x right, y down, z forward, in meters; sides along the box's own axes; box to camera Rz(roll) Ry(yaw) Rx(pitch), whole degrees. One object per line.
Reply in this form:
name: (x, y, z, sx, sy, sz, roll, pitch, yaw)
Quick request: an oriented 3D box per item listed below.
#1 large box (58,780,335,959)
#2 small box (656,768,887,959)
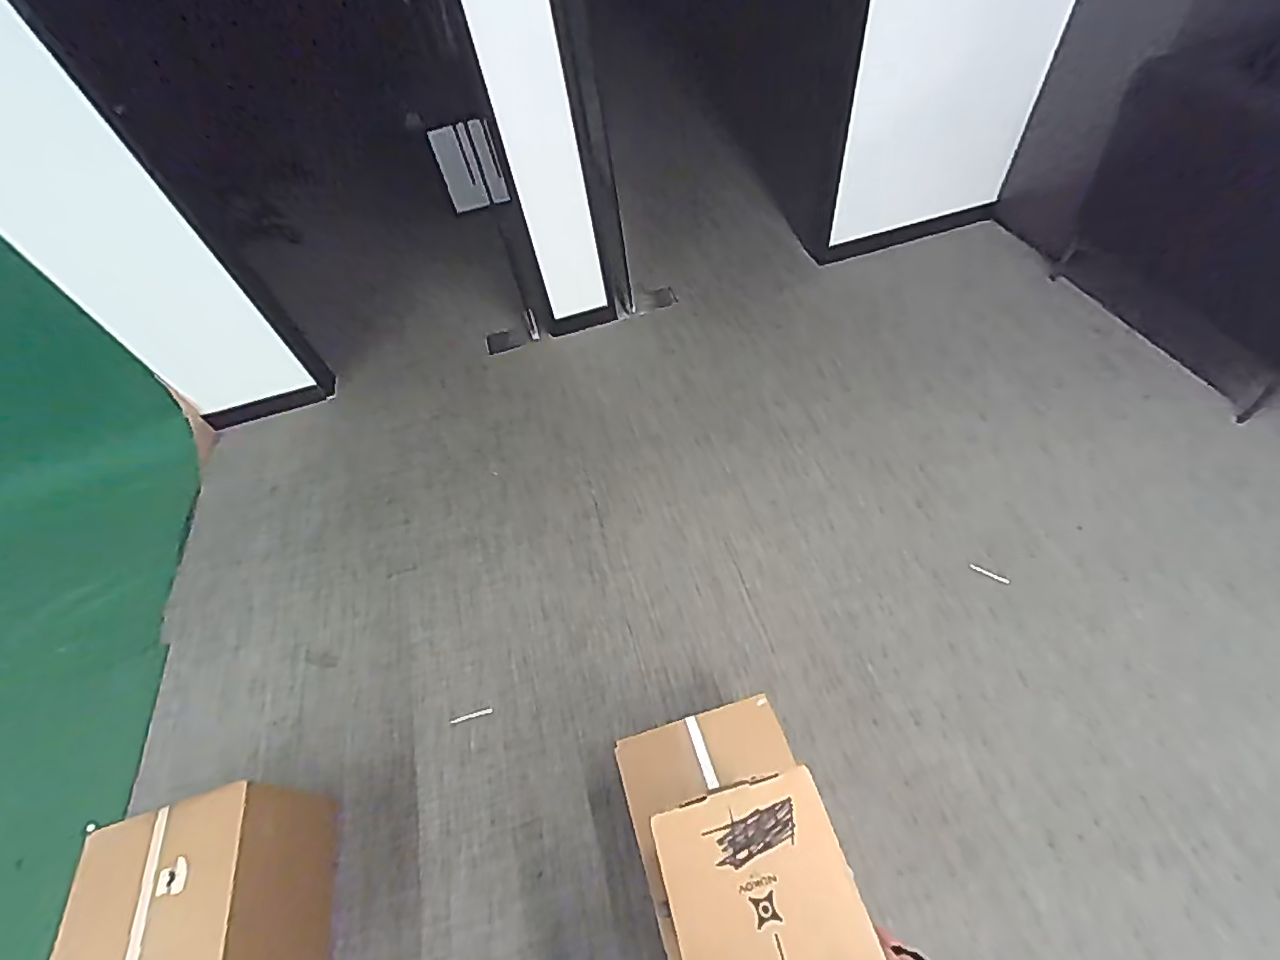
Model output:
large box: (-0.840, 0.875, 1.058, 0.320, 0.320, 0.408, -17, 52, -4)
small box: (0.120, 0.417, 0.543, 0.168, 0.176, 0.179, -16, 55, -4)
